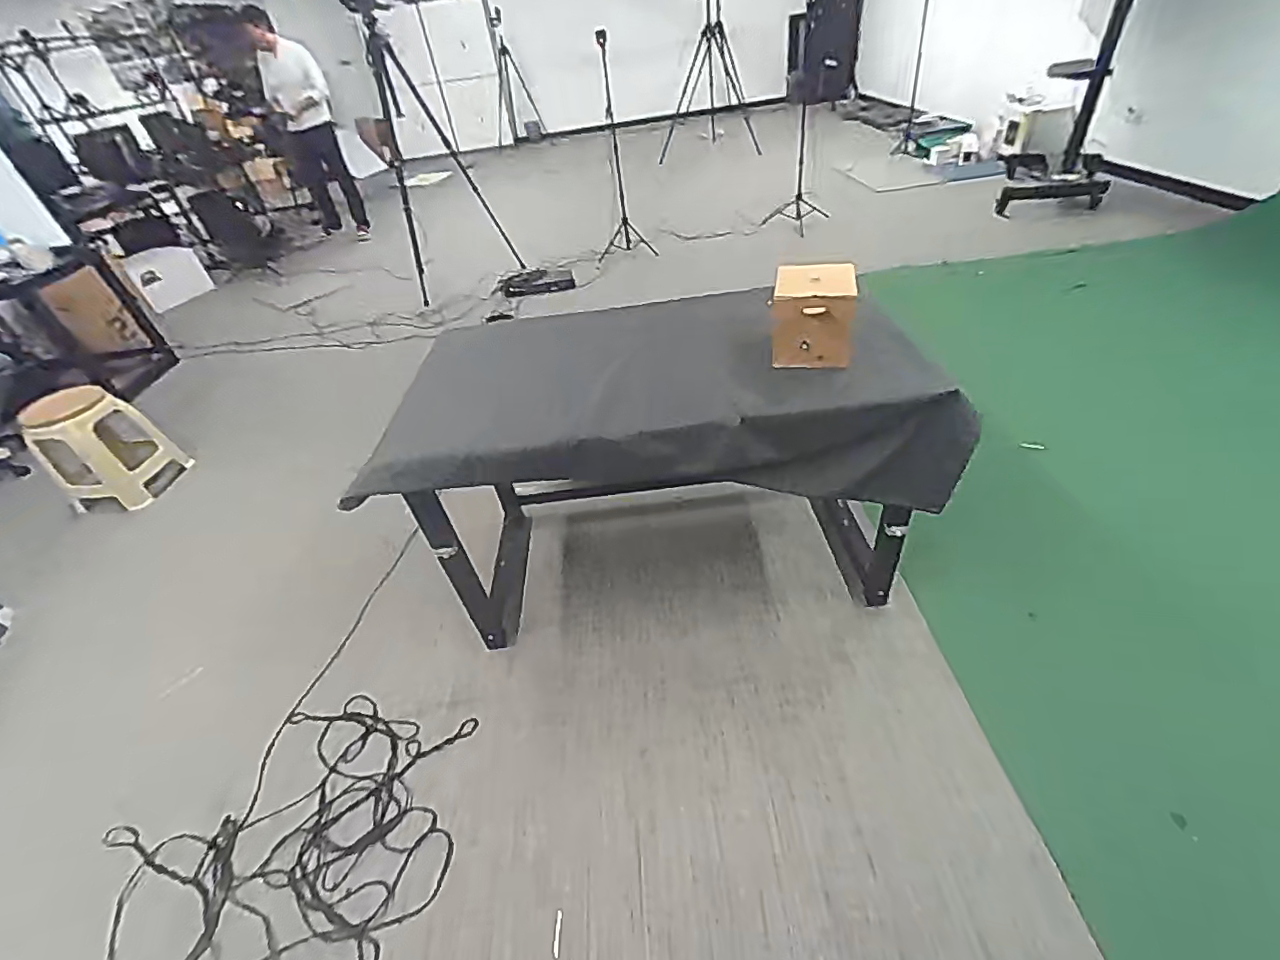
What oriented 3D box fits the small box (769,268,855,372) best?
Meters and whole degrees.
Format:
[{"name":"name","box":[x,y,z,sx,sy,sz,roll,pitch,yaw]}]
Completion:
[{"name":"small box","box":[0.381,-0.362,1.215,0.168,0.176,0.179,4,42,14]}]
